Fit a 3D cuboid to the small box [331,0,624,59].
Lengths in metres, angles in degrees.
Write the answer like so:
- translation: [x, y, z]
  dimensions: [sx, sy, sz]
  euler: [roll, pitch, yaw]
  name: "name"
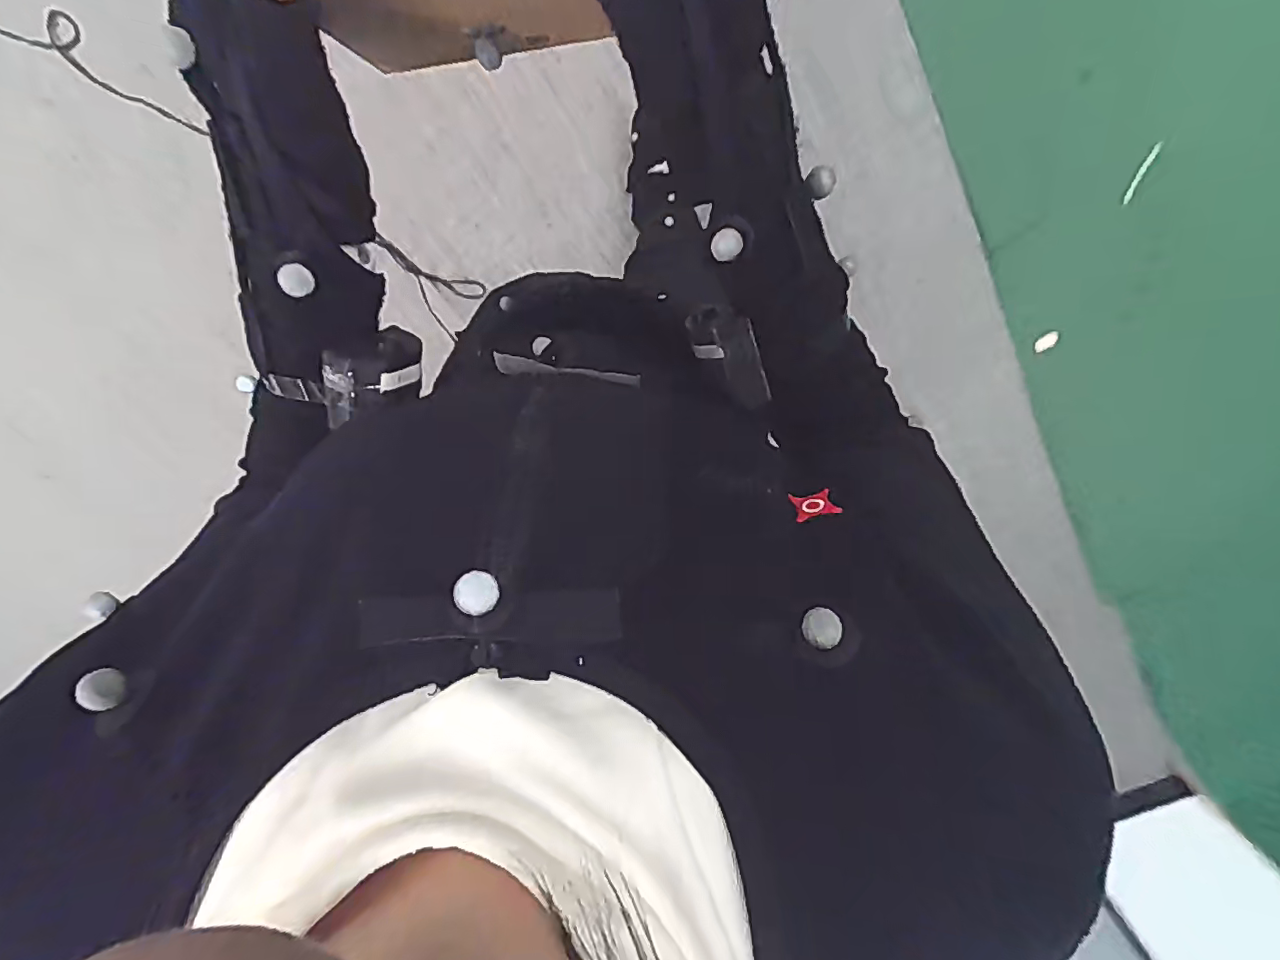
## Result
- translation: [-0.095, -0.326, 0.239]
  dimensions: [0.168, 0.176, 0.179]
  euler: [-10, 116, 1]
  name: "small box"
